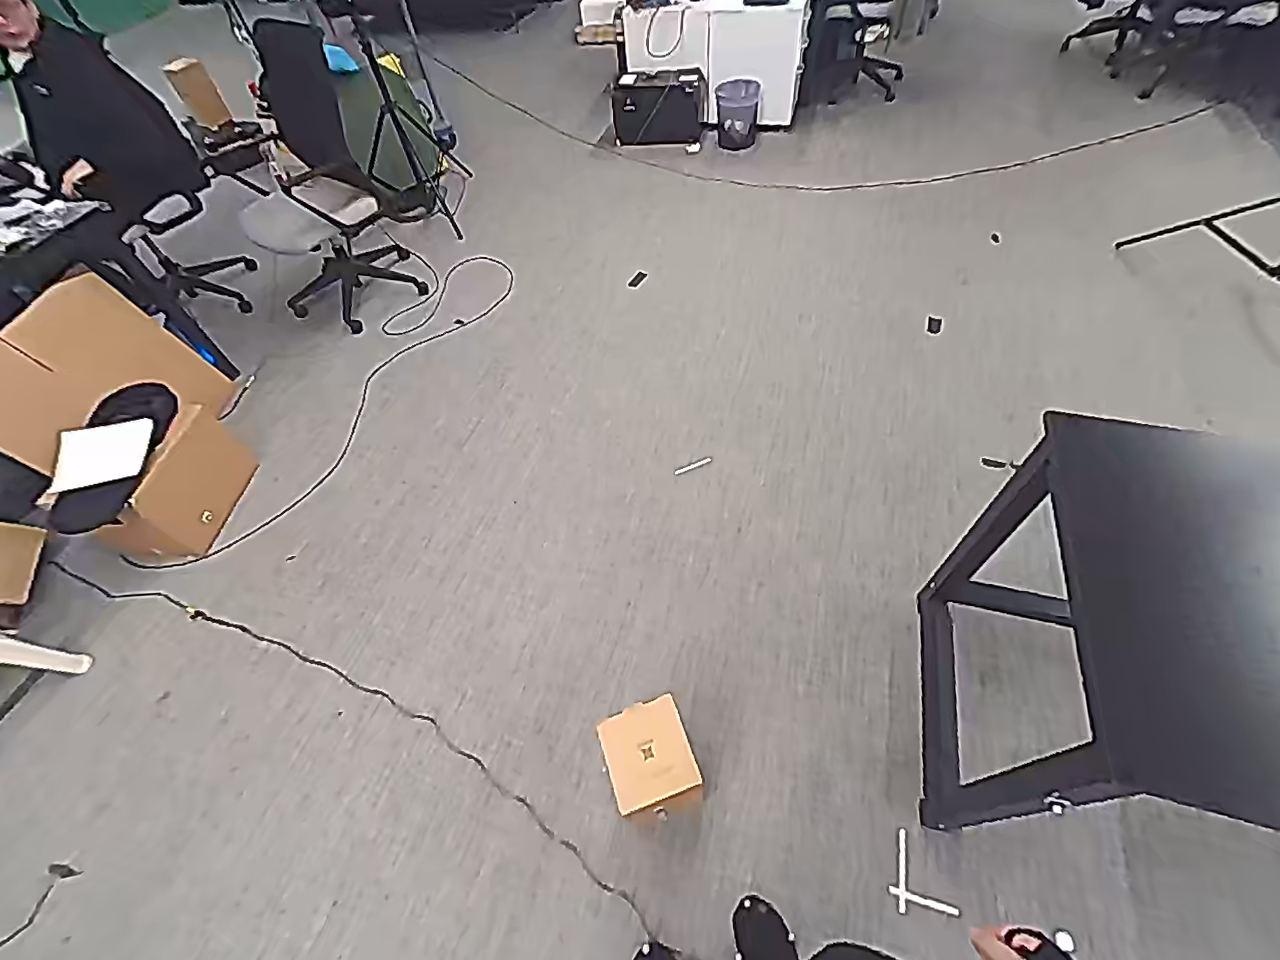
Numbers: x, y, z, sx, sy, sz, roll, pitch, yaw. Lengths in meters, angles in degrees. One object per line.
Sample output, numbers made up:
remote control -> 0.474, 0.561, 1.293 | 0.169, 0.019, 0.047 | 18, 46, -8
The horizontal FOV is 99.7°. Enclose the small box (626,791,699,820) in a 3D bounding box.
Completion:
small box -> 0.037, 0.671, 1.257 | 0.168, 0.176, 0.179 | -14, 53, -5

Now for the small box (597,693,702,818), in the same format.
small box -> 0.021, 0.577, 1.126 | 0.168, 0.176, 0.179 | -19, 55, -7
